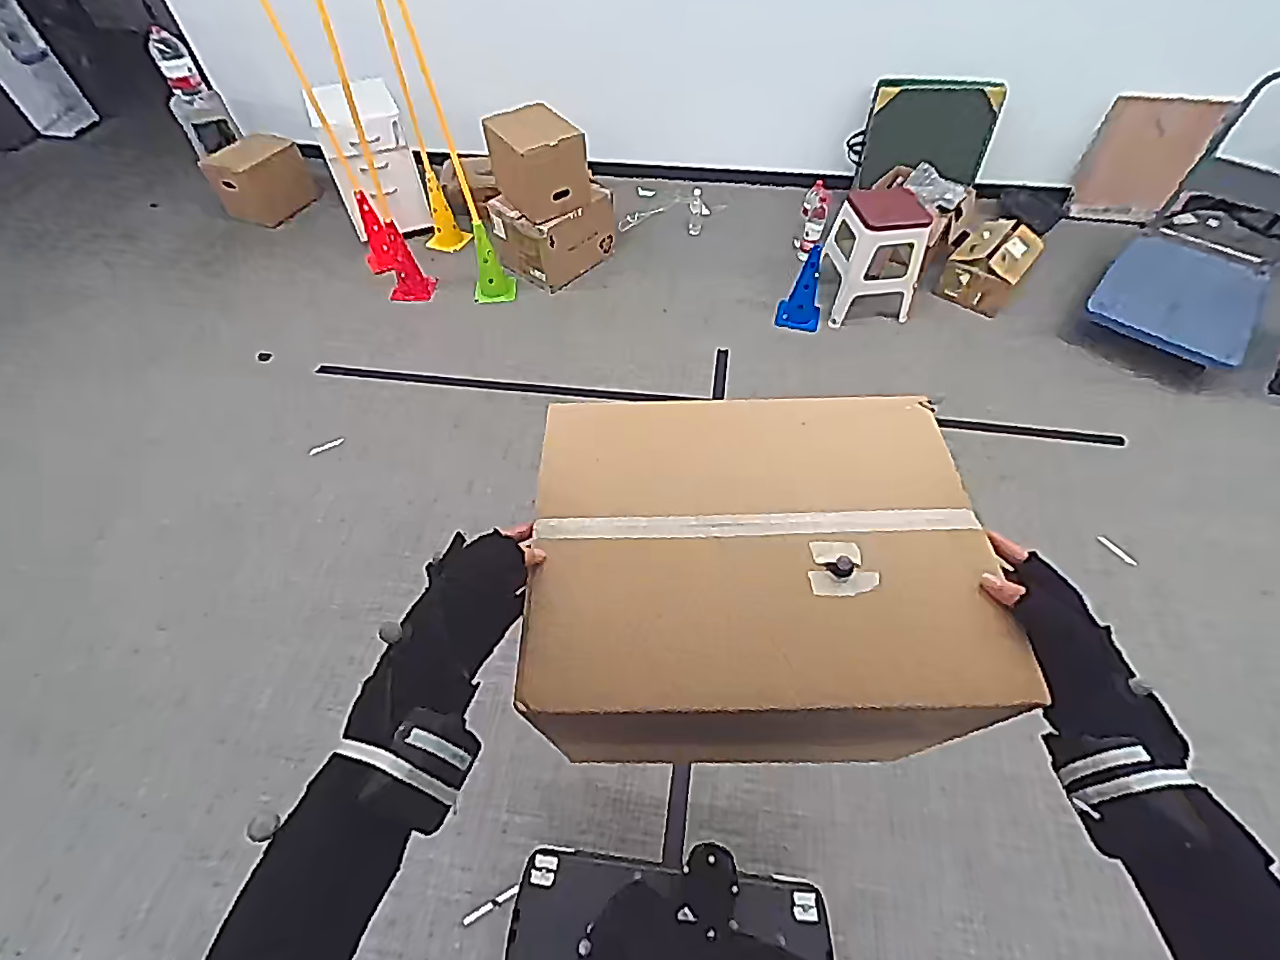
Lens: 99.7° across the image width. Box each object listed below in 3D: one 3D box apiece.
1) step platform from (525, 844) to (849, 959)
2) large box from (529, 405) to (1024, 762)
[{"bbox_3d":[0.096,1.007,1.185,0.684,0.204,0.286,5,54,3],"label":"step platform"},{"bbox_3d":[0.106,0.132,0.631,0.408,0.320,0.320,-1,56,0],"label":"large box"}]
